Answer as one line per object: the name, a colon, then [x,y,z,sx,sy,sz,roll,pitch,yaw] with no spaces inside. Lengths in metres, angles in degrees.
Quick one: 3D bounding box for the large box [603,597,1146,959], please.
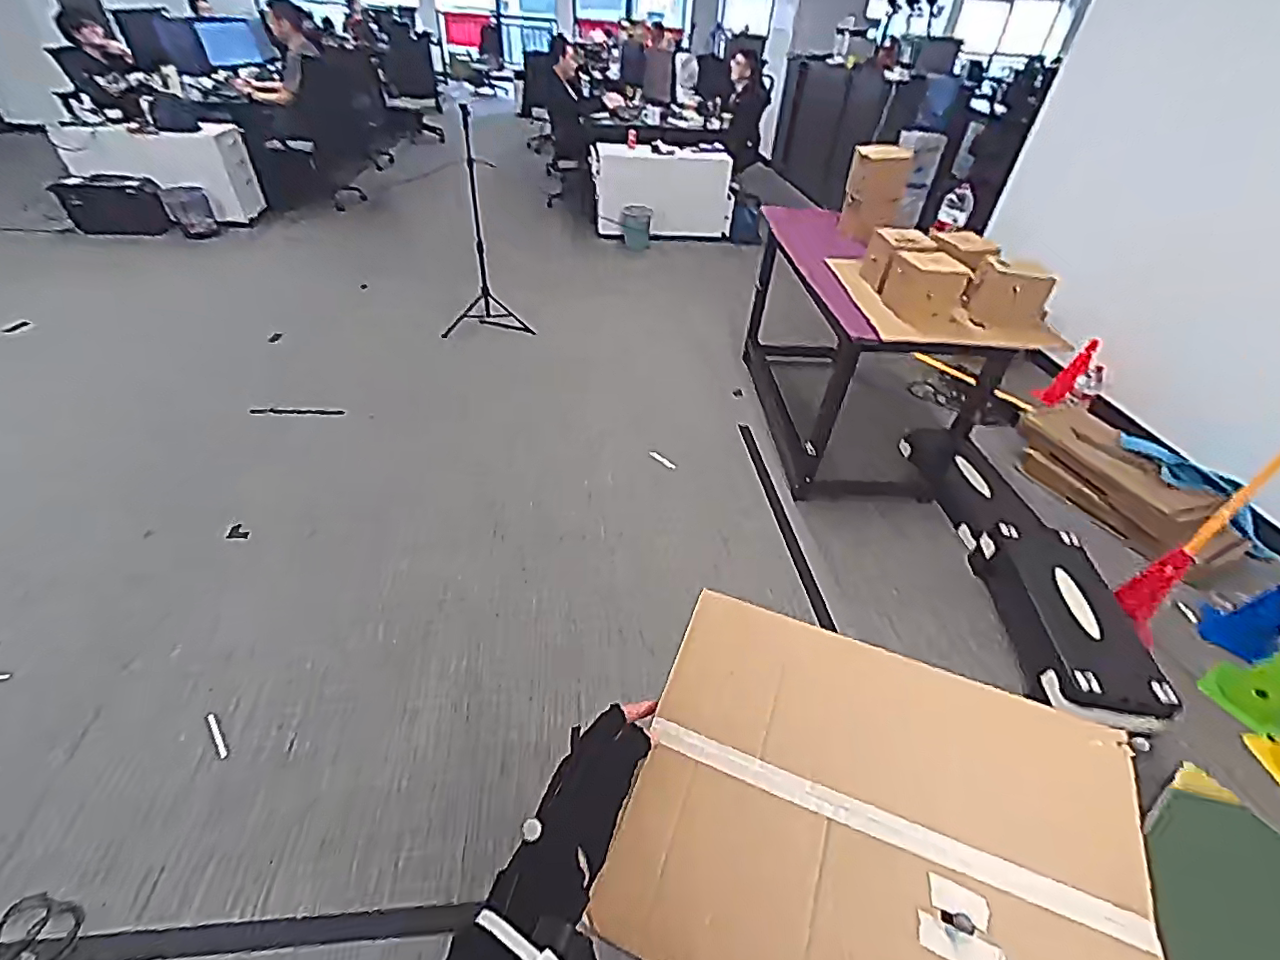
large box: [0.208,0.386,0.586,0.408,0.320,0.320,17,54,15]
